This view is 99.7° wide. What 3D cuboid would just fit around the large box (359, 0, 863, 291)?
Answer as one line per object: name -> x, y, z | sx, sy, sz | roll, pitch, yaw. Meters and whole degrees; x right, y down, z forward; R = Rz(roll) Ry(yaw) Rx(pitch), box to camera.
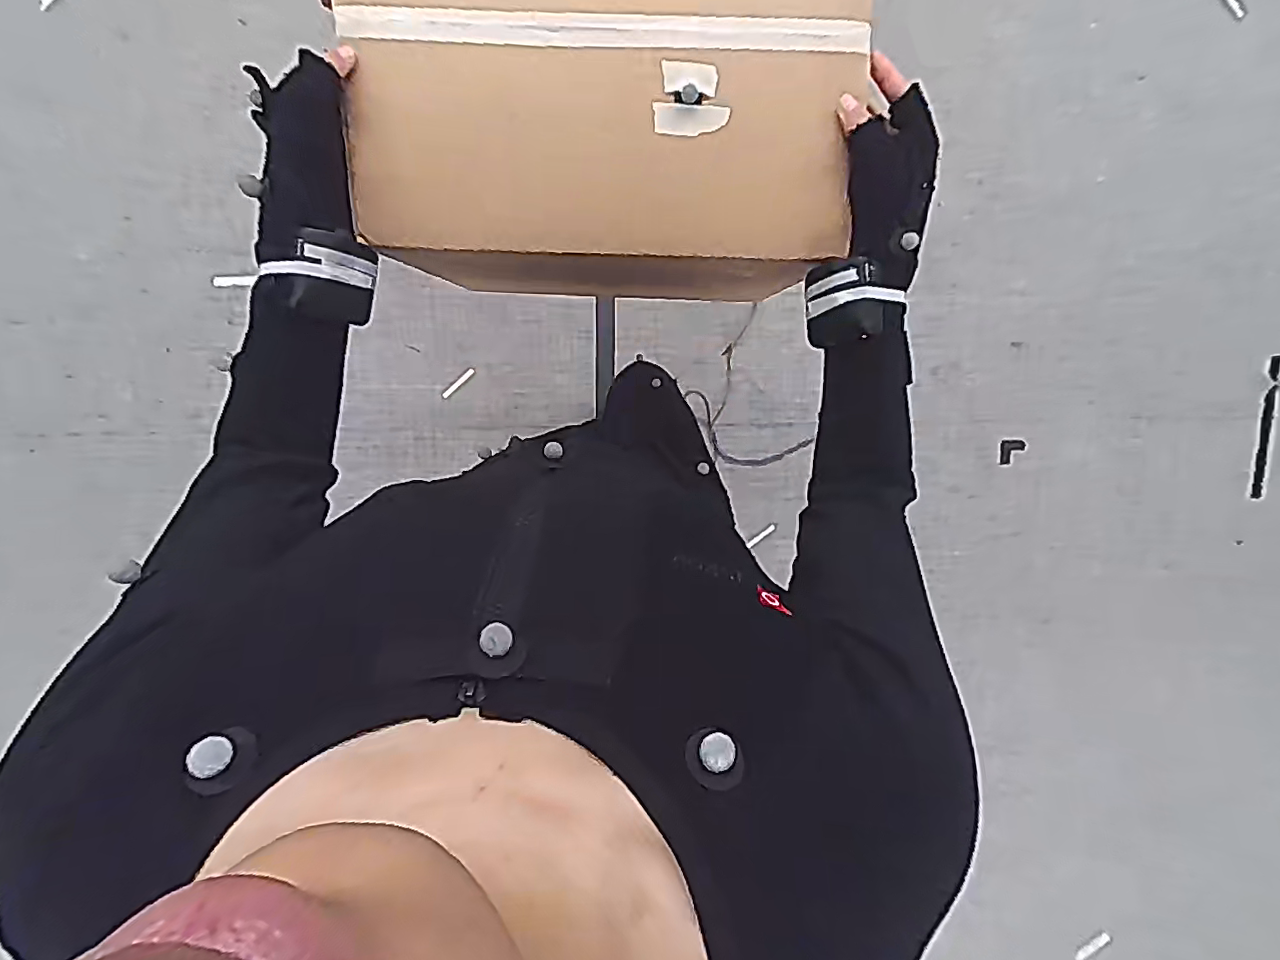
large box -> -0.027, -0.382, 0.574 | 0.408, 0.320, 0.320 | 1, 103, -1
